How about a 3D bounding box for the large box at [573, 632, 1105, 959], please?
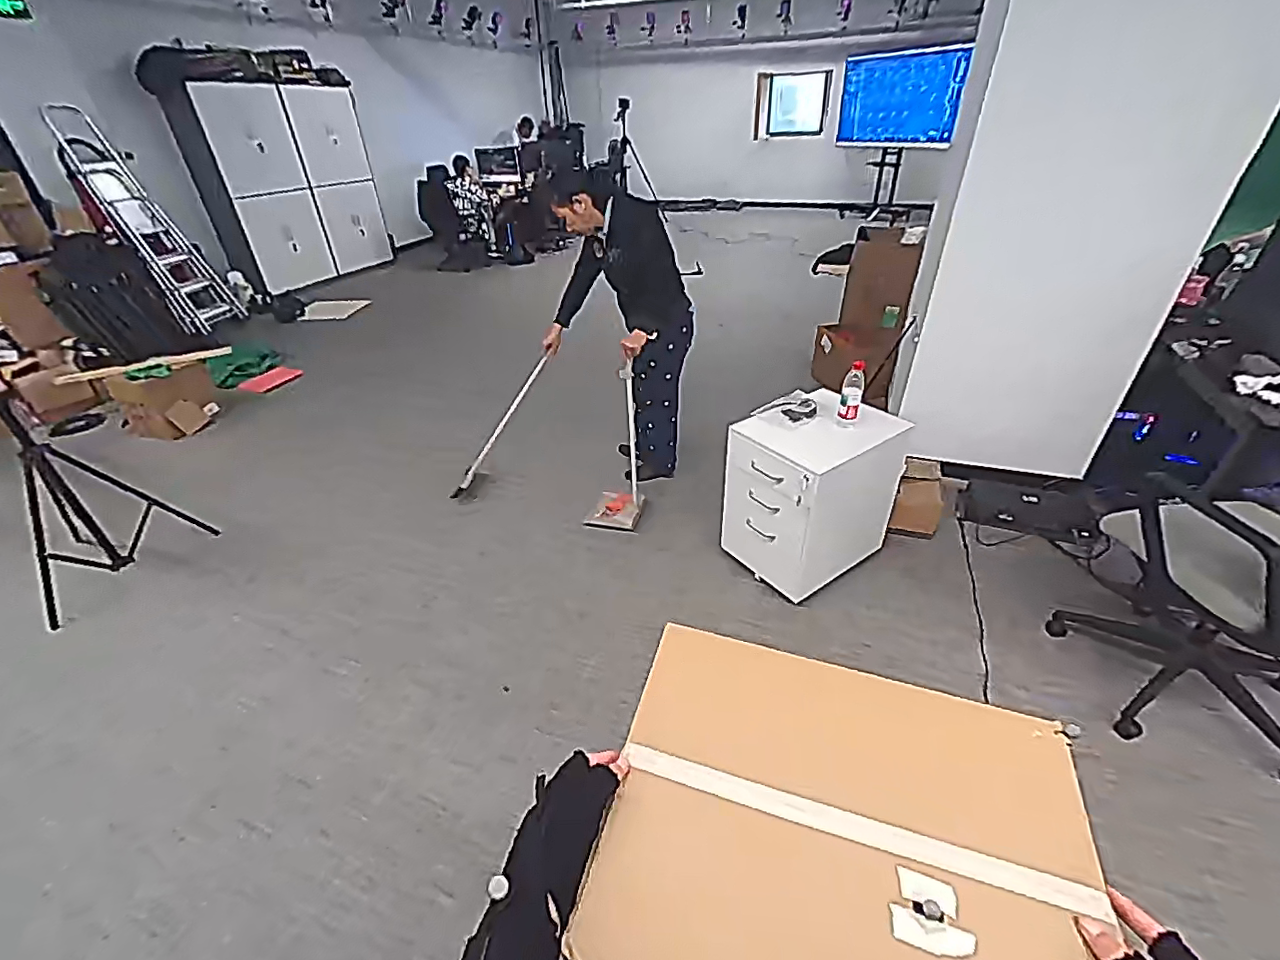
[{"bbox_3d":[0.180,0.421,0.584,0.408,0.320,0.320,11,43,15],"label":"large box"}]
